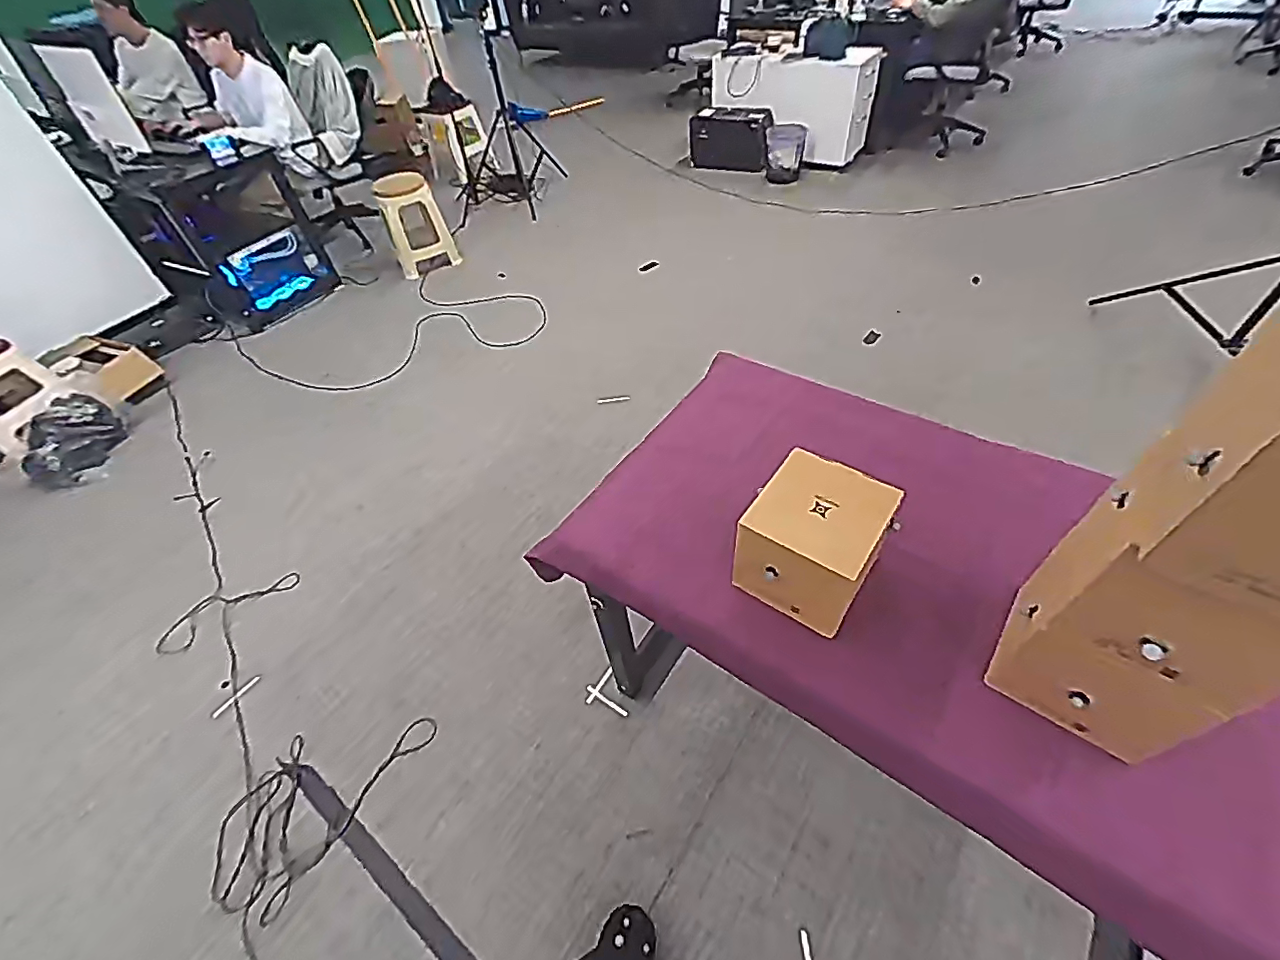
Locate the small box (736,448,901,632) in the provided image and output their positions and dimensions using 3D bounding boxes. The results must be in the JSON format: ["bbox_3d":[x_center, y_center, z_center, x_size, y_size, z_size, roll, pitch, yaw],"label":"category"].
[{"bbox_3d":[0.253,0.090,0.797,0.168,0.176,0.179,27,55,26],"label":"small box"}]

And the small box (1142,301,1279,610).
[{"bbox_3d":[0.533,-0.005,0.412,0.168,0.176,0.179,26,55,25],"label":"small box"}]

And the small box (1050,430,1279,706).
[{"bbox_3d":[0.558,0.087,0.545,0.168,0.176,0.179,28,58,28],"label":"small box"}]

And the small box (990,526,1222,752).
[{"bbox_3d":[0.567,0.197,0.667,0.168,0.176,0.179,29,57,27],"label":"small box"}]
